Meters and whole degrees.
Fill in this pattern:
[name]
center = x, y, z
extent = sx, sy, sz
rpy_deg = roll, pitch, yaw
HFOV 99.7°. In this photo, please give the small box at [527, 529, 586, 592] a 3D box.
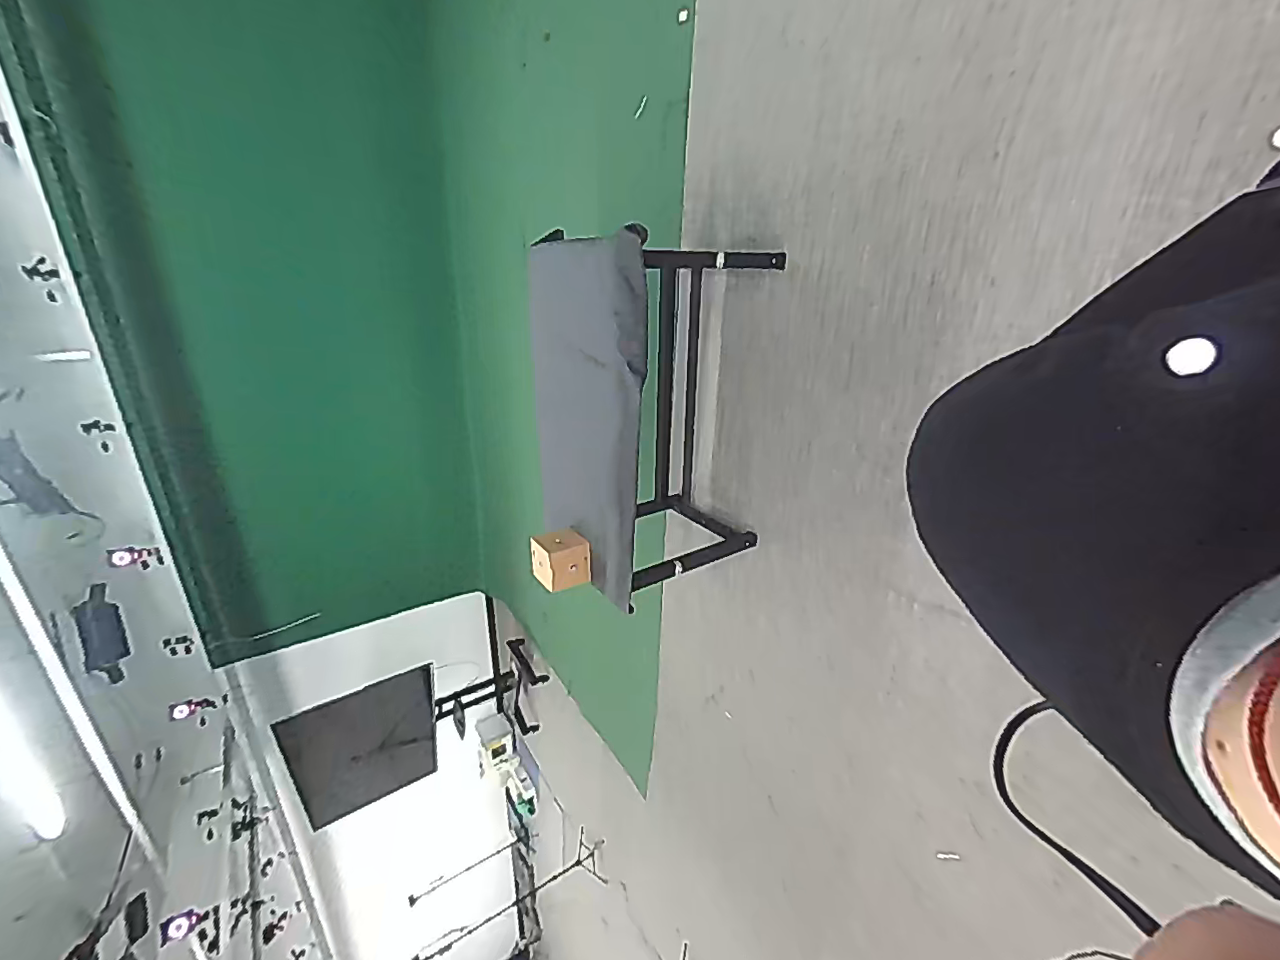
[small box]
center = -0.318, 0.302, 2.081
extent = 0.179, 0.176, 0.168
rpy_deg = 24, 121, 50
